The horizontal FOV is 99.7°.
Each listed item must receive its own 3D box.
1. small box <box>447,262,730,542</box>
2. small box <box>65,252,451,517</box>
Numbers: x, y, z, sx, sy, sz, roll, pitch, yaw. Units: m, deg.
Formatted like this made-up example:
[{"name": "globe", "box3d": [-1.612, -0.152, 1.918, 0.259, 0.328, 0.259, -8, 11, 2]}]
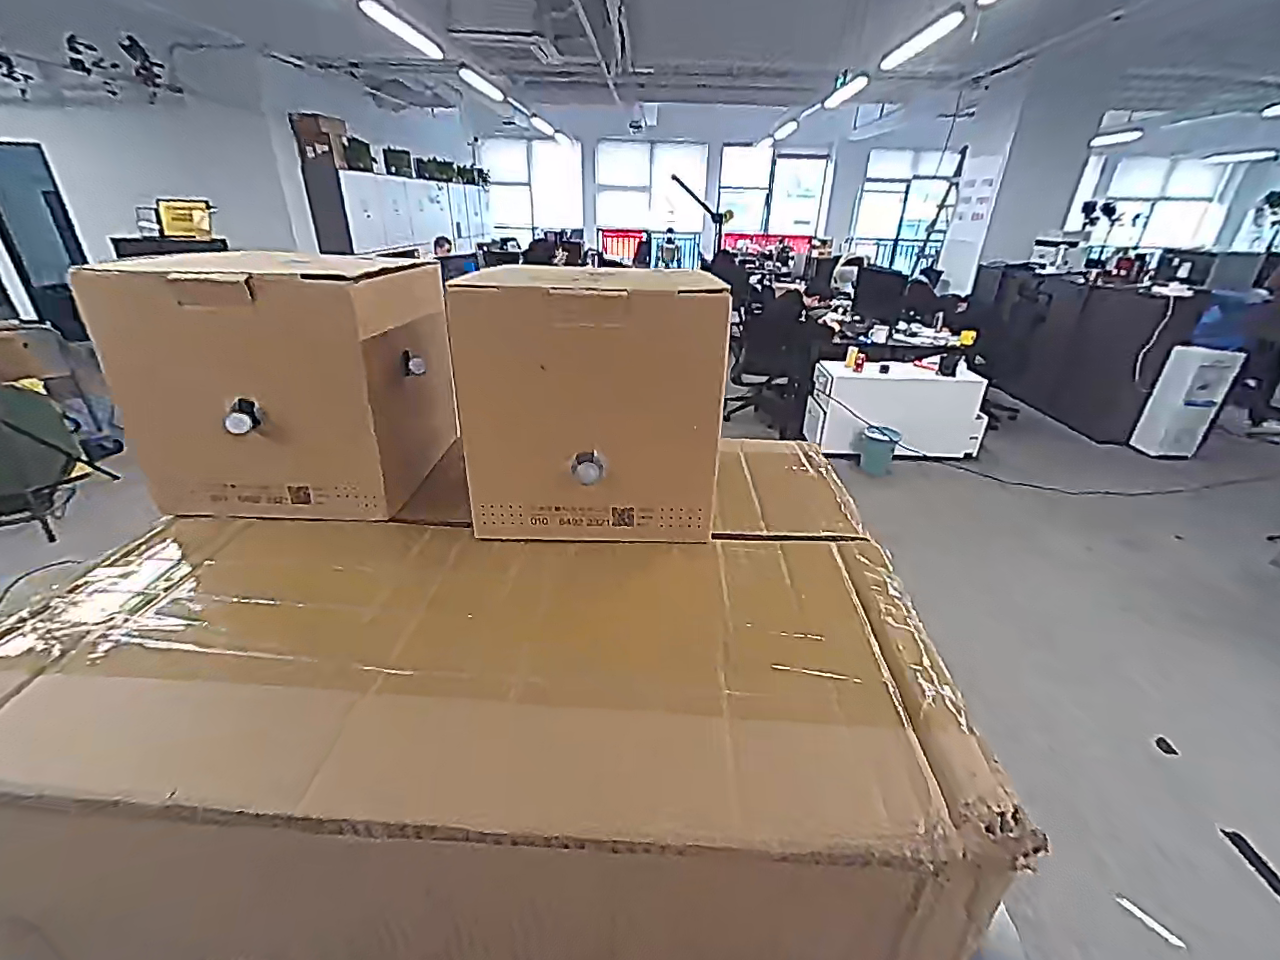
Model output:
[{"name": "small box", "box3d": [-0.031, -0.070, 0.413, 0.168, 0.176, 0.179, 1, 25, 0]}, {"name": "small box", "box3d": [-0.258, -0.082, 0.426, 0.168, 0.176, 0.179, 1, 26, -3]}]
